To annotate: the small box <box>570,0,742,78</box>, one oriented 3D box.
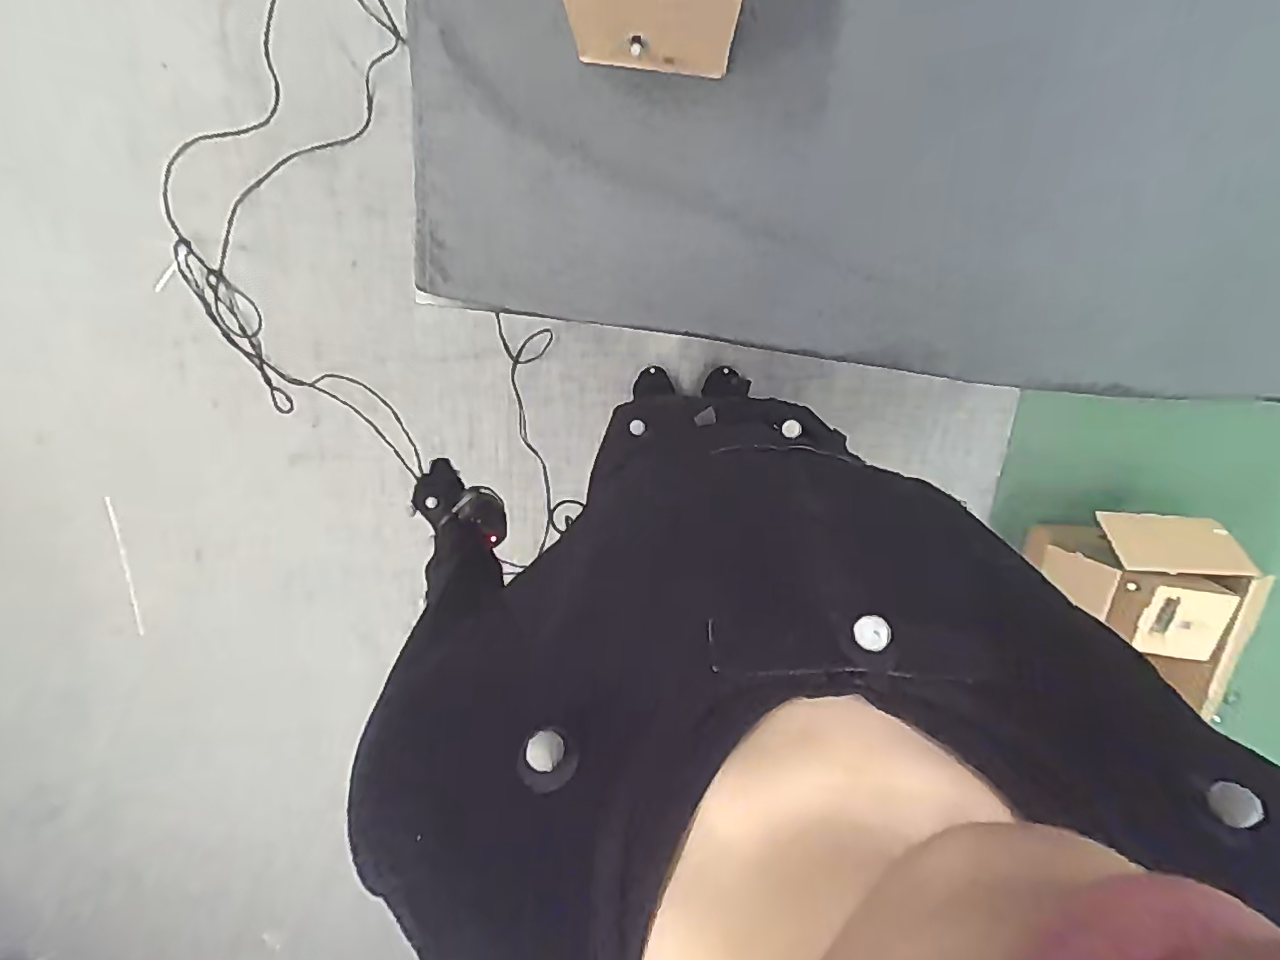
[{"bbox_3d":[0.019,-0.525,0.510,0.168,0.176,0.179,7,106,0],"label":"small box"}]
